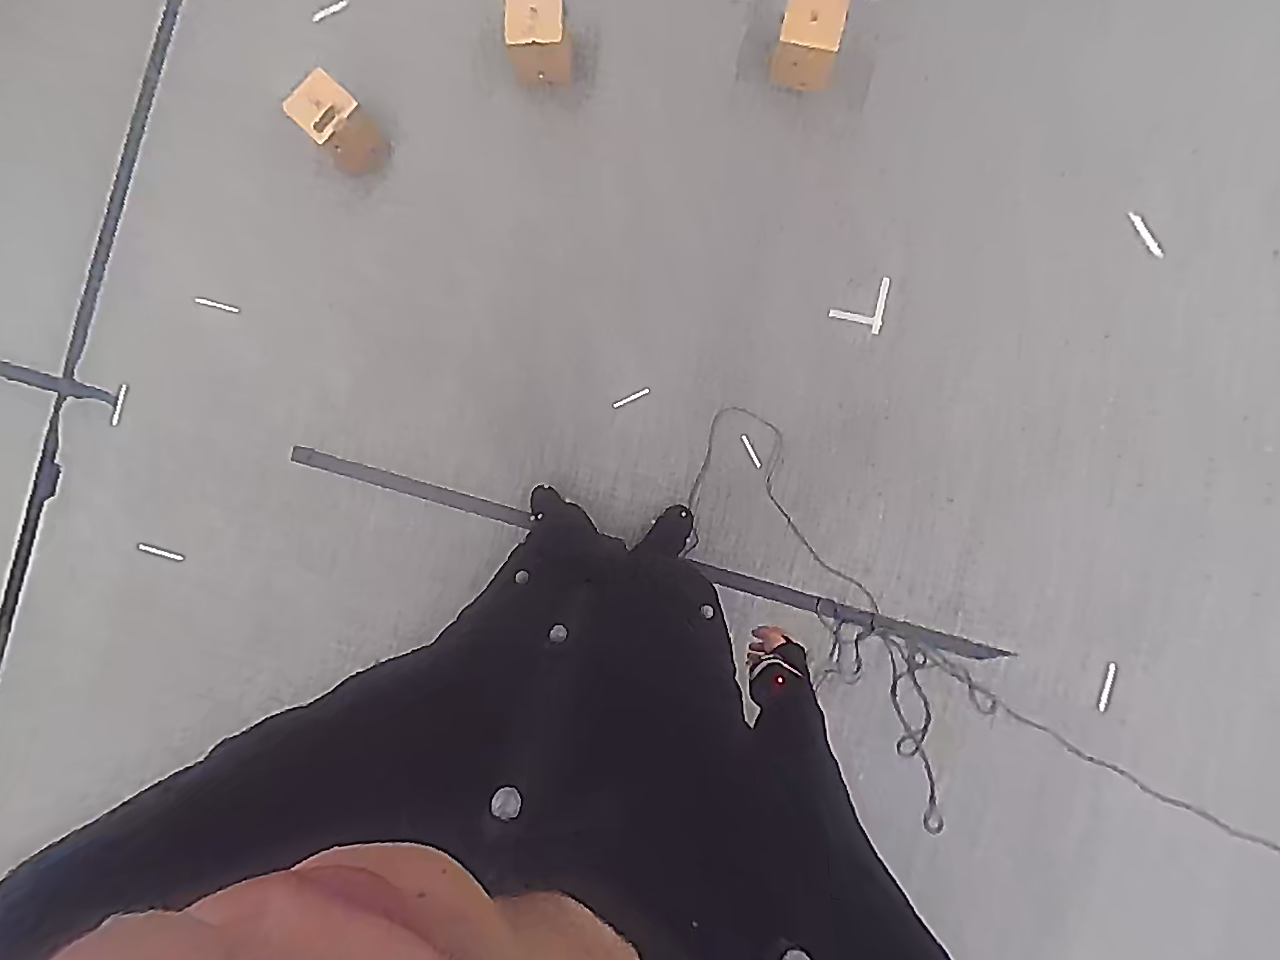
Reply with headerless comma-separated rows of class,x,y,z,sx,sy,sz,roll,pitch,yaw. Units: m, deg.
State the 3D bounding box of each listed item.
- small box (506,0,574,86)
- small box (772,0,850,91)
small box,-0.294,-1.322,1.609,0.168,0.176,0.179,0,89,3
small box,0.490,-1.279,1.569,0.168,0.176,0.179,13,88,4
